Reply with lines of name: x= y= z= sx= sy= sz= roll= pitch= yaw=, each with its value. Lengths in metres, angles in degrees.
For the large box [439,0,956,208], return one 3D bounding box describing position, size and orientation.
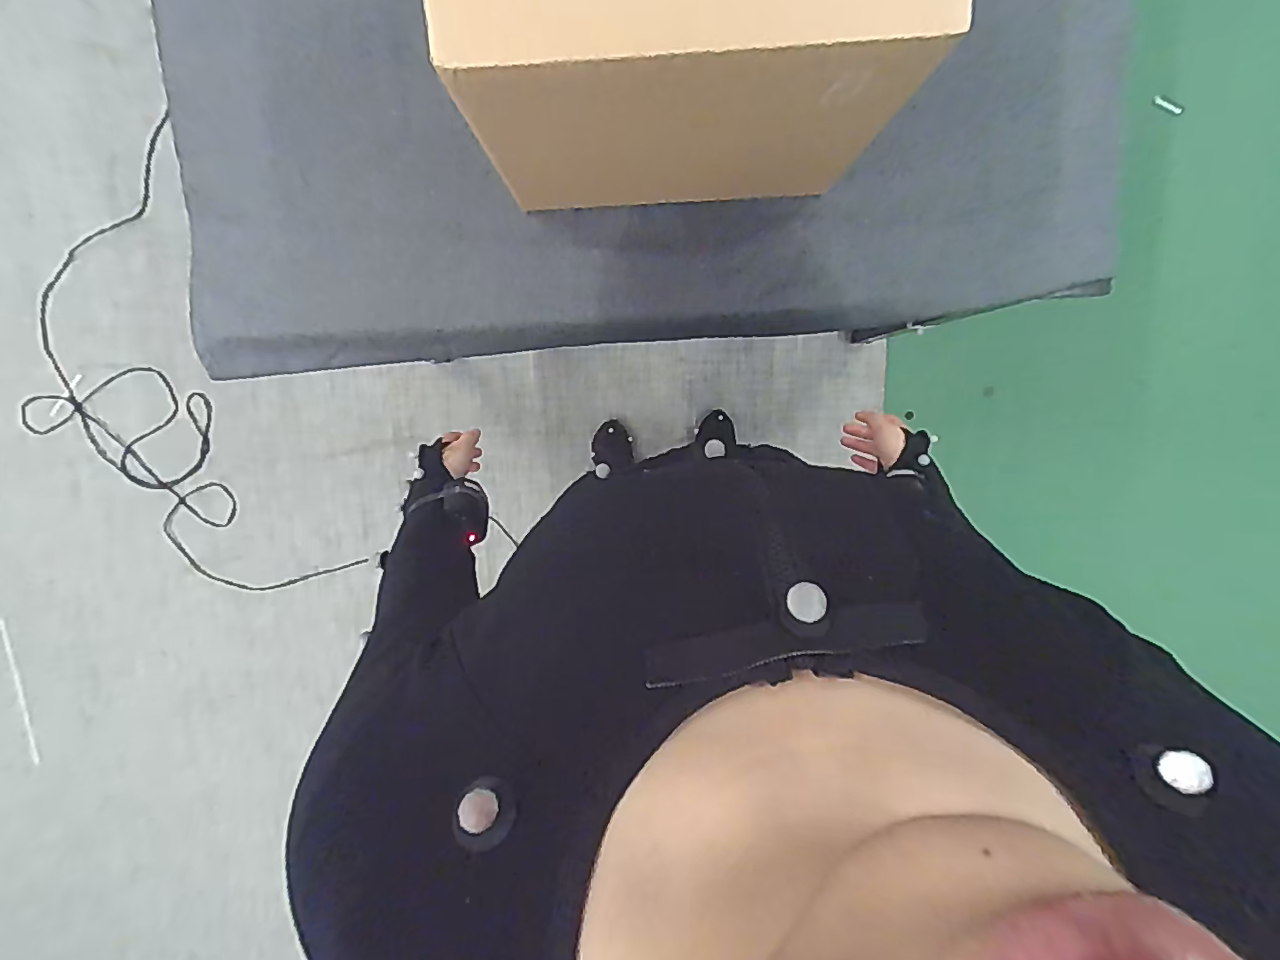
large box: x=0.033 y=-0.502 z=0.545 sx=0.408 sy=0.320 sz=0.320 roll=-4 pitch=99 yaw=0
